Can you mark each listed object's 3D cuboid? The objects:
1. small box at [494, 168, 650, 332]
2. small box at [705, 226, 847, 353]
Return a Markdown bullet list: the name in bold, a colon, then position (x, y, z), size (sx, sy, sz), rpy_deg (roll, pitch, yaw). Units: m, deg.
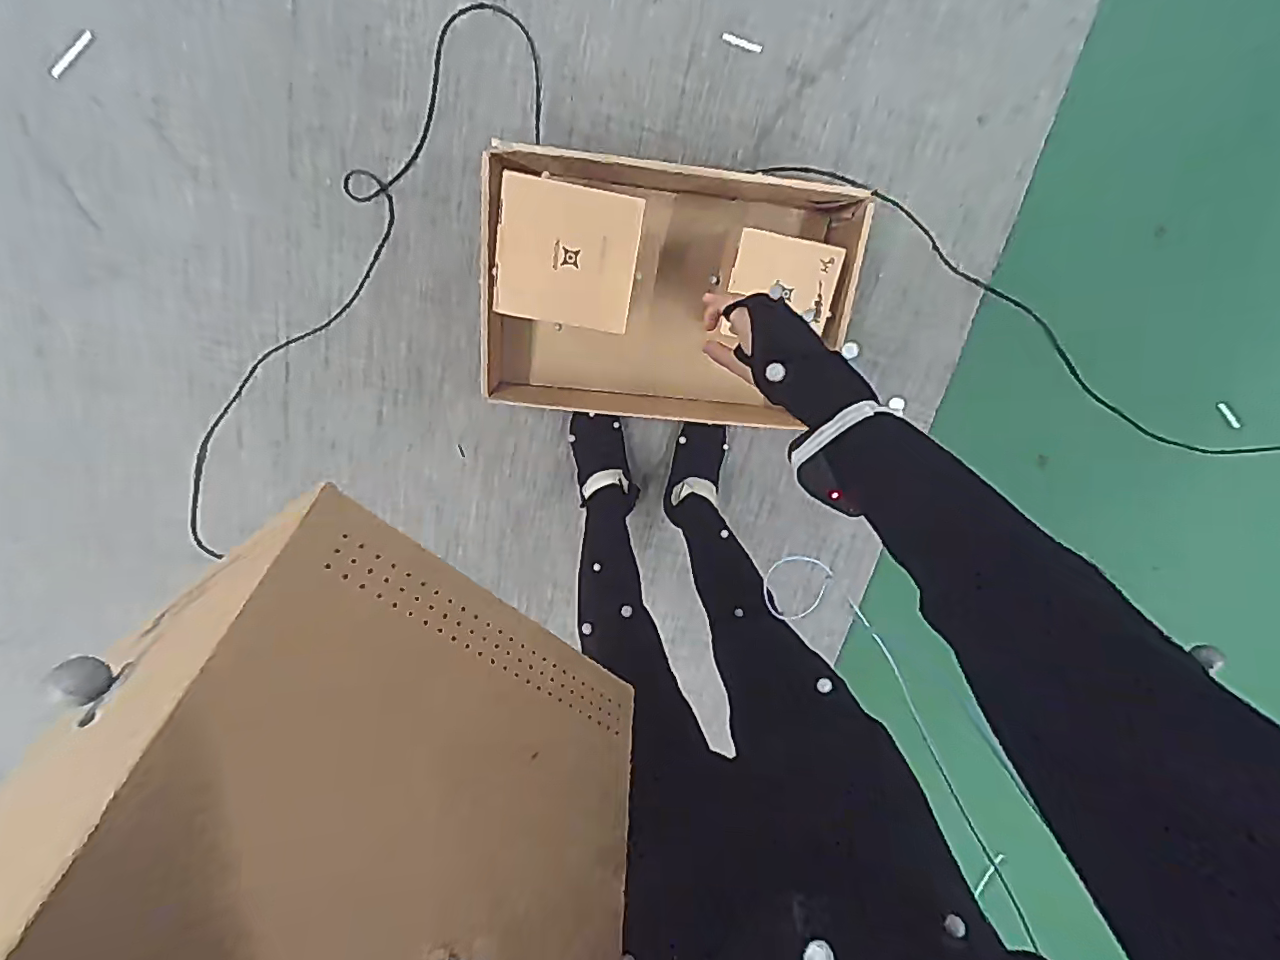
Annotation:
- **small box**: position (-0.094, -0.312, 0.752), size (0.179, 0.176, 0.168), rpy_deg (8, 111, -9)
- **small box**: position (0.223, -0.329, 0.946), size (0.179, 0.176, 0.168), rpy_deg (10, 109, -8)
